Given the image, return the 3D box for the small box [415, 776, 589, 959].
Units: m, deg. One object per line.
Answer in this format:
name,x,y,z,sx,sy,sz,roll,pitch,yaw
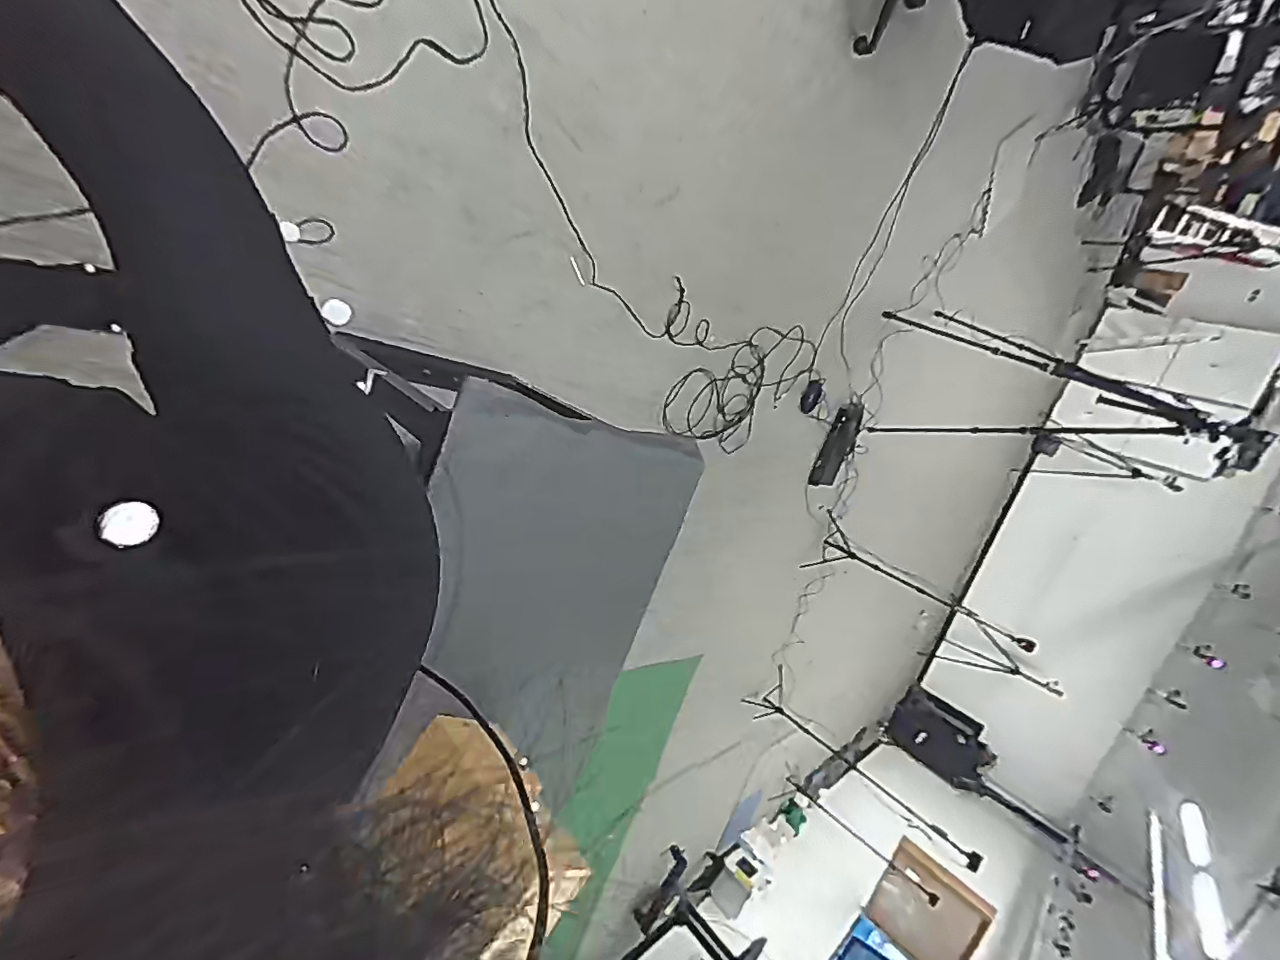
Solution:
small box,-0.219,0.603,0.840,0.179,0.176,0.168,-50,141,-13
